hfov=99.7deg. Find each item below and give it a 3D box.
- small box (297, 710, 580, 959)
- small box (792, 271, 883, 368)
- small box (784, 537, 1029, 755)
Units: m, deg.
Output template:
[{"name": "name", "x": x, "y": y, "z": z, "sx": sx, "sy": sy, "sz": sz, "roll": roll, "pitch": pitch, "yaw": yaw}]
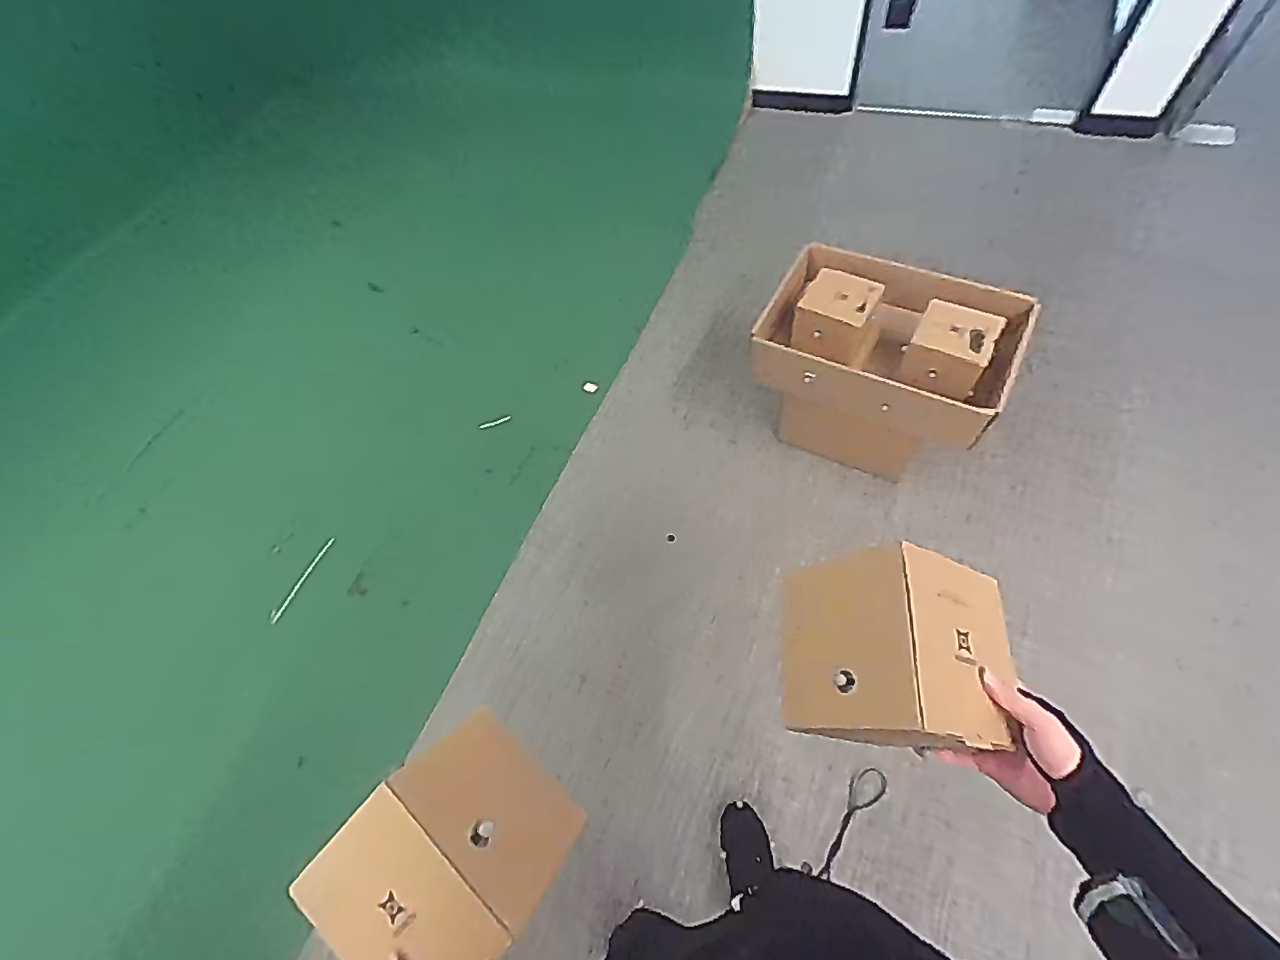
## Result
[{"name": "small box", "x": -0.196, "y": 0.371, "z": 0.564, "sx": 0.179, "sy": 0.176, "sz": 0.168, "roll": 44, "pitch": 102, "yaw": 10}, {"name": "small box", "x": 0.533, "y": -0.436, "z": 1.483, "sx": 0.179, "sy": 0.176, "sz": 0.168, "roll": 27, "pitch": 69, "yaw": 23}, {"name": "small box", "x": 0.273, "y": 0.186, "z": 0.587, "sx": 0.168, "sy": 0.176, "sz": 0.179, "roll": 22, "pitch": 59, "yaw": -24}]
